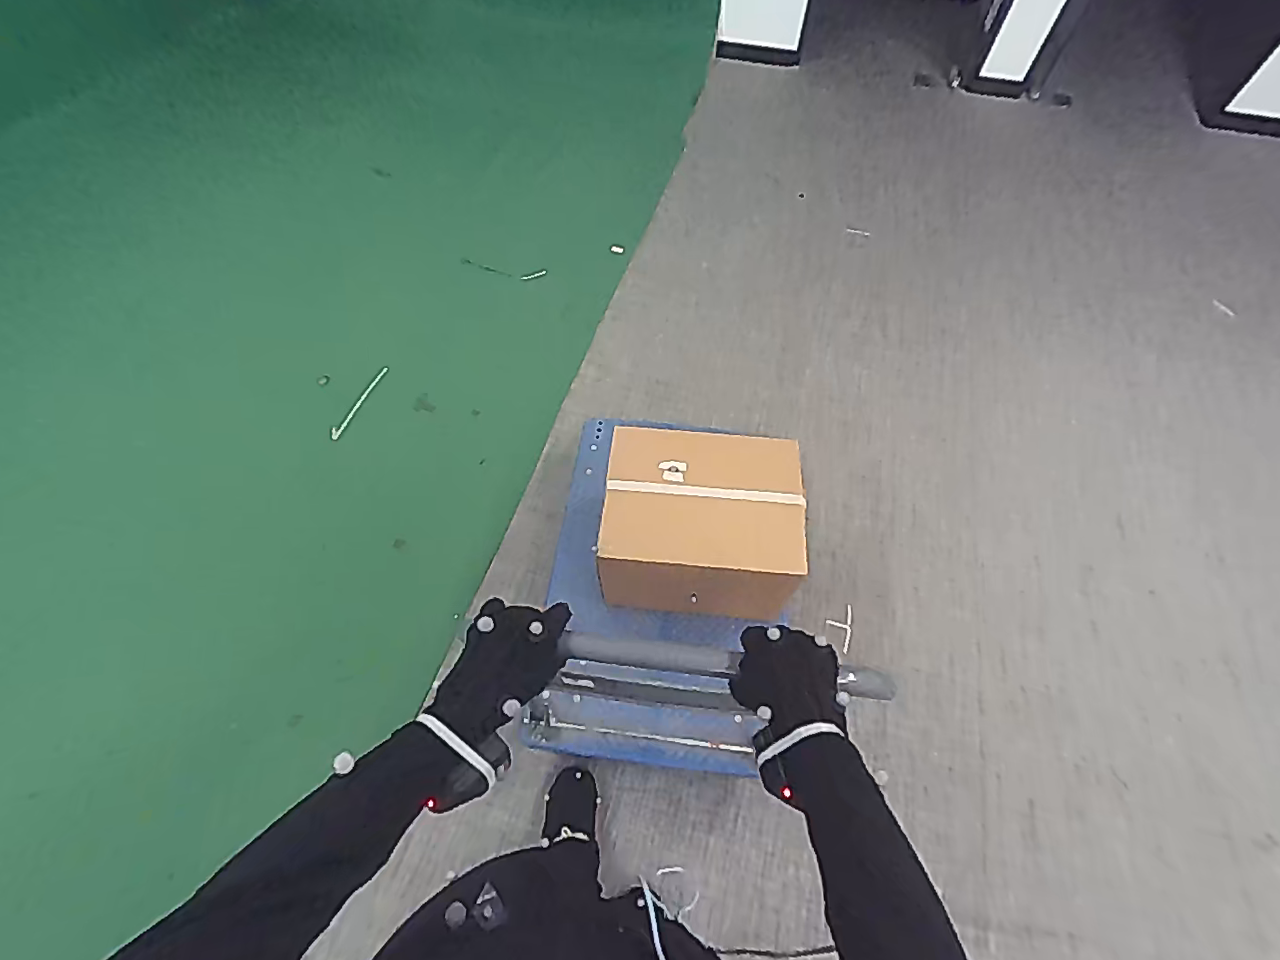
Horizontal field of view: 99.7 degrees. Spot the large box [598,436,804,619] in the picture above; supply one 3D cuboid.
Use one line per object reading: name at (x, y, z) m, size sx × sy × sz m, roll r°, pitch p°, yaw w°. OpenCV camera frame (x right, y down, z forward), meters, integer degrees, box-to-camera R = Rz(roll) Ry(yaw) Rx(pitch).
large box at (0.133, 0.118, 1.243) m, size 0.408 × 0.320 × 0.320 m, roll 4°, pitch 59°, yaw 4°
